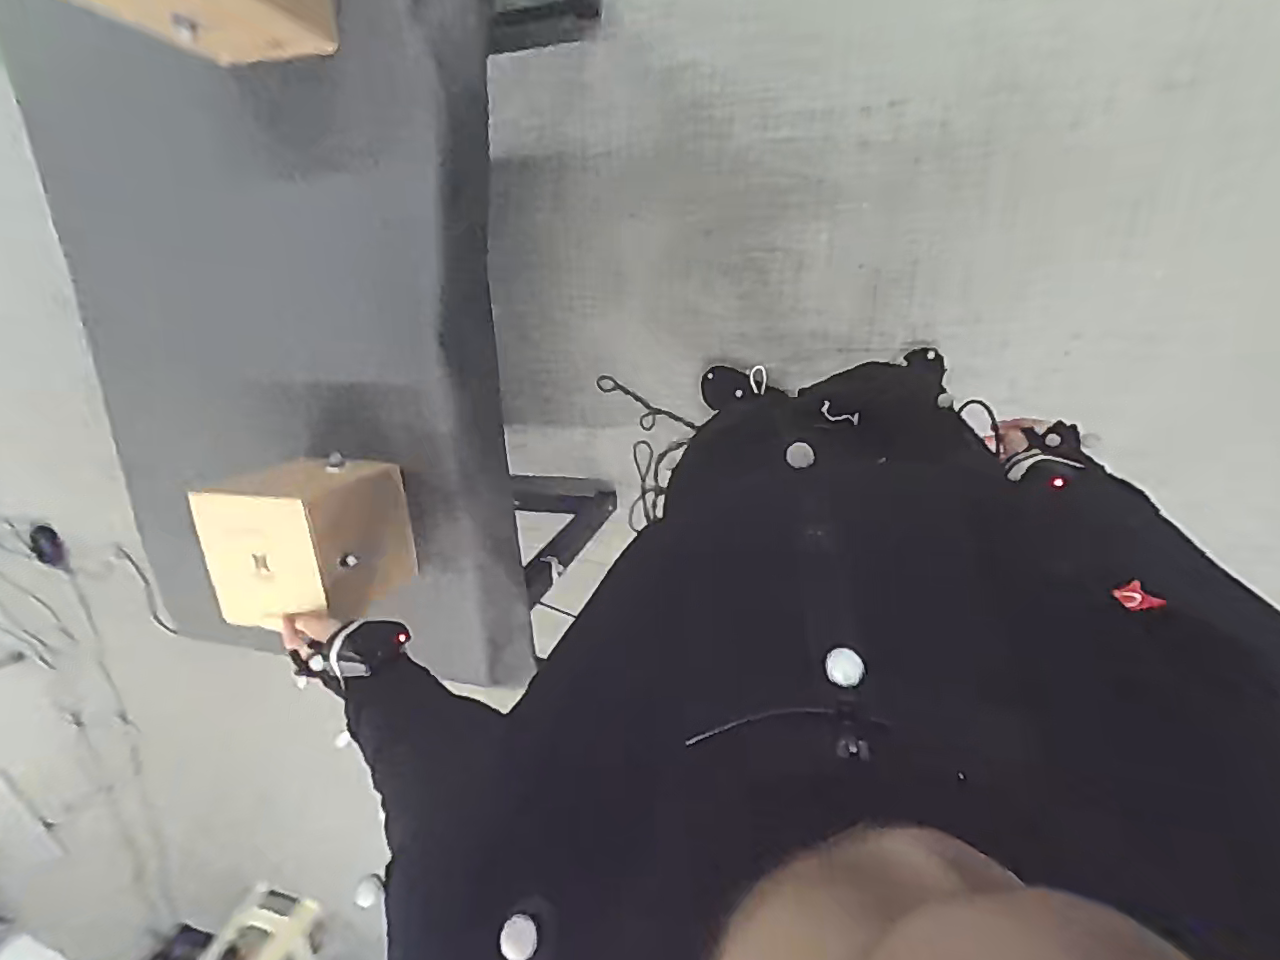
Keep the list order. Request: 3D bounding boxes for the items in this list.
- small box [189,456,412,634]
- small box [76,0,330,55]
[{"bbox_3d":[-0.424,0.074,0.707,0.168,0.176,0.179,2,106,14],"label":"small box"},{"bbox_3d":[-0.430,-0.539,0.515,0.168,0.176,0.179,6,108,14],"label":"small box"}]
